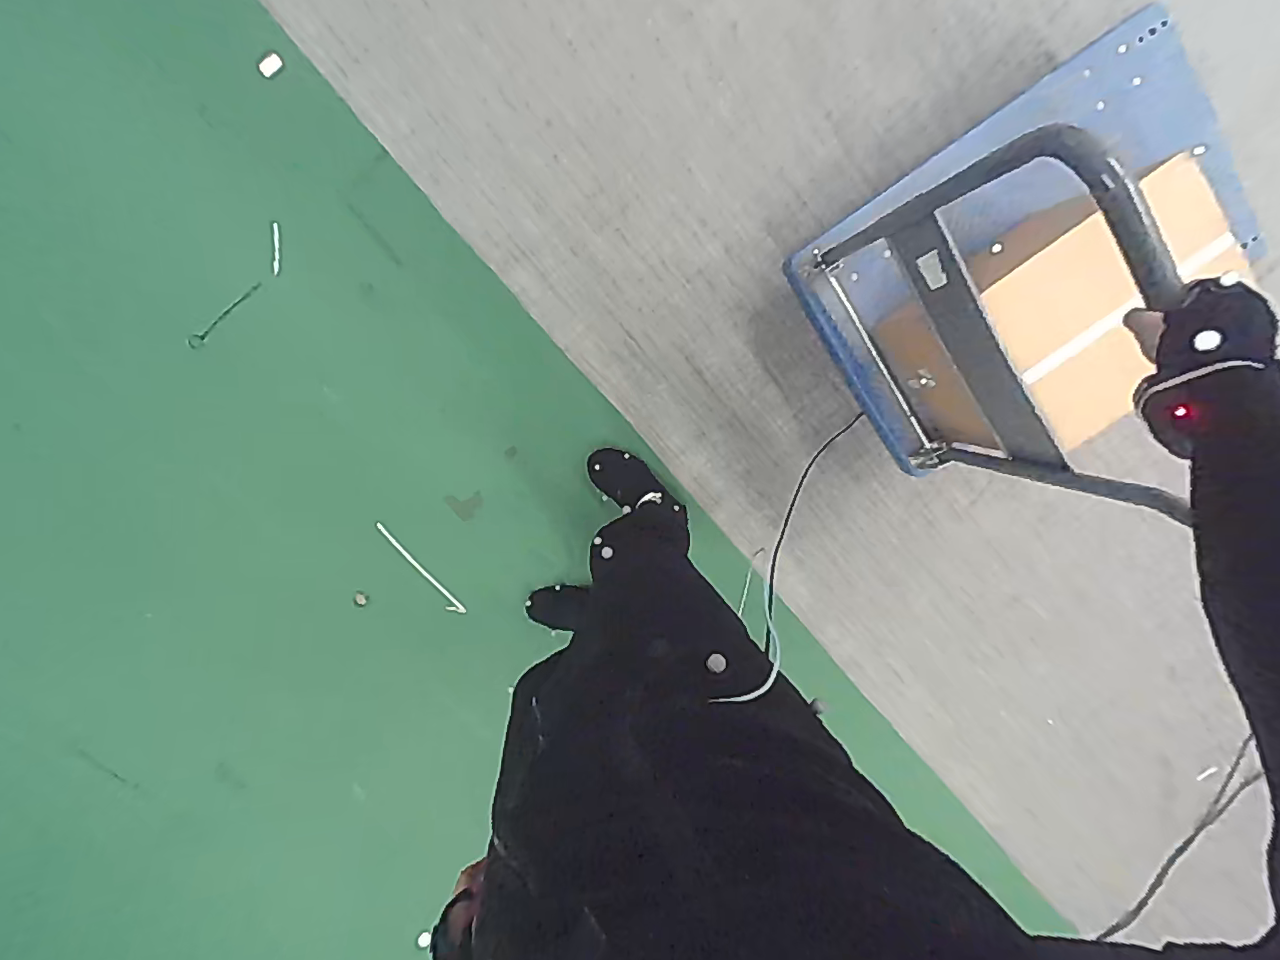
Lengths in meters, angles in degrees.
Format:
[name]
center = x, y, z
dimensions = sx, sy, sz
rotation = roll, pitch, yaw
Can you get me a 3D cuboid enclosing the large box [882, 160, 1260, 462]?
[large box]
center = 0.766, -0.287, 1.025
dimensions = 0.408, 0.320, 0.320
rotation = -36, 99, 4
